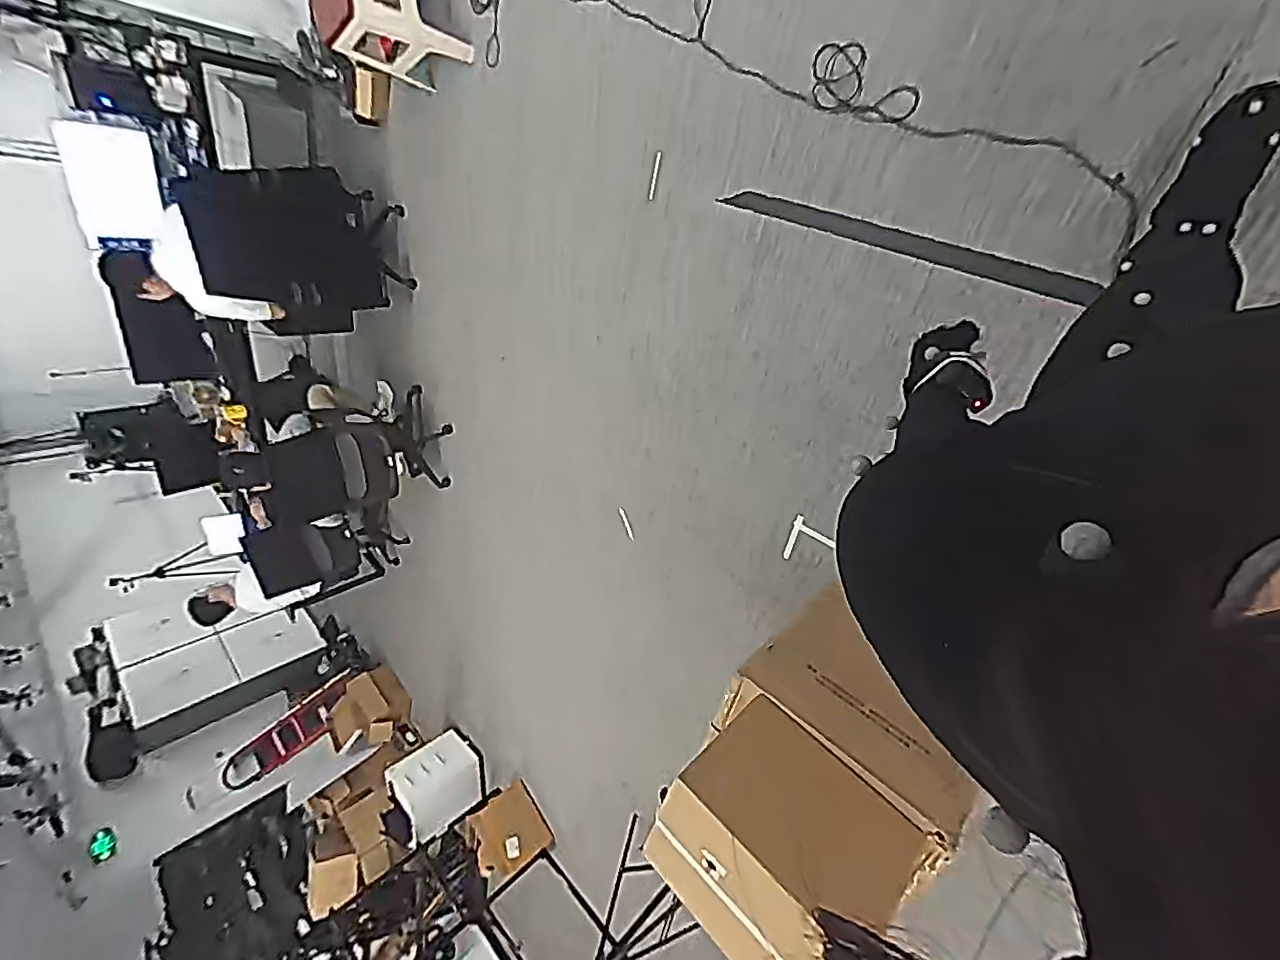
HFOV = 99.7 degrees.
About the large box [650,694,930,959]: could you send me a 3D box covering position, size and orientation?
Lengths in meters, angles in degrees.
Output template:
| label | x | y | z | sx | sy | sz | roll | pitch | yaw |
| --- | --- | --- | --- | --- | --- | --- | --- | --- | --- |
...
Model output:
| label | x | y | z | sx | sy | sz | roll | pitch | yaw |
| --- | --- | --- | --- | --- | --- | --- | --- | --- | --- |
| large box | 0.290 | 0.742 | 1.107 | 0.408 | 0.320 | 0.320 | 36 | 127 | 32 |
